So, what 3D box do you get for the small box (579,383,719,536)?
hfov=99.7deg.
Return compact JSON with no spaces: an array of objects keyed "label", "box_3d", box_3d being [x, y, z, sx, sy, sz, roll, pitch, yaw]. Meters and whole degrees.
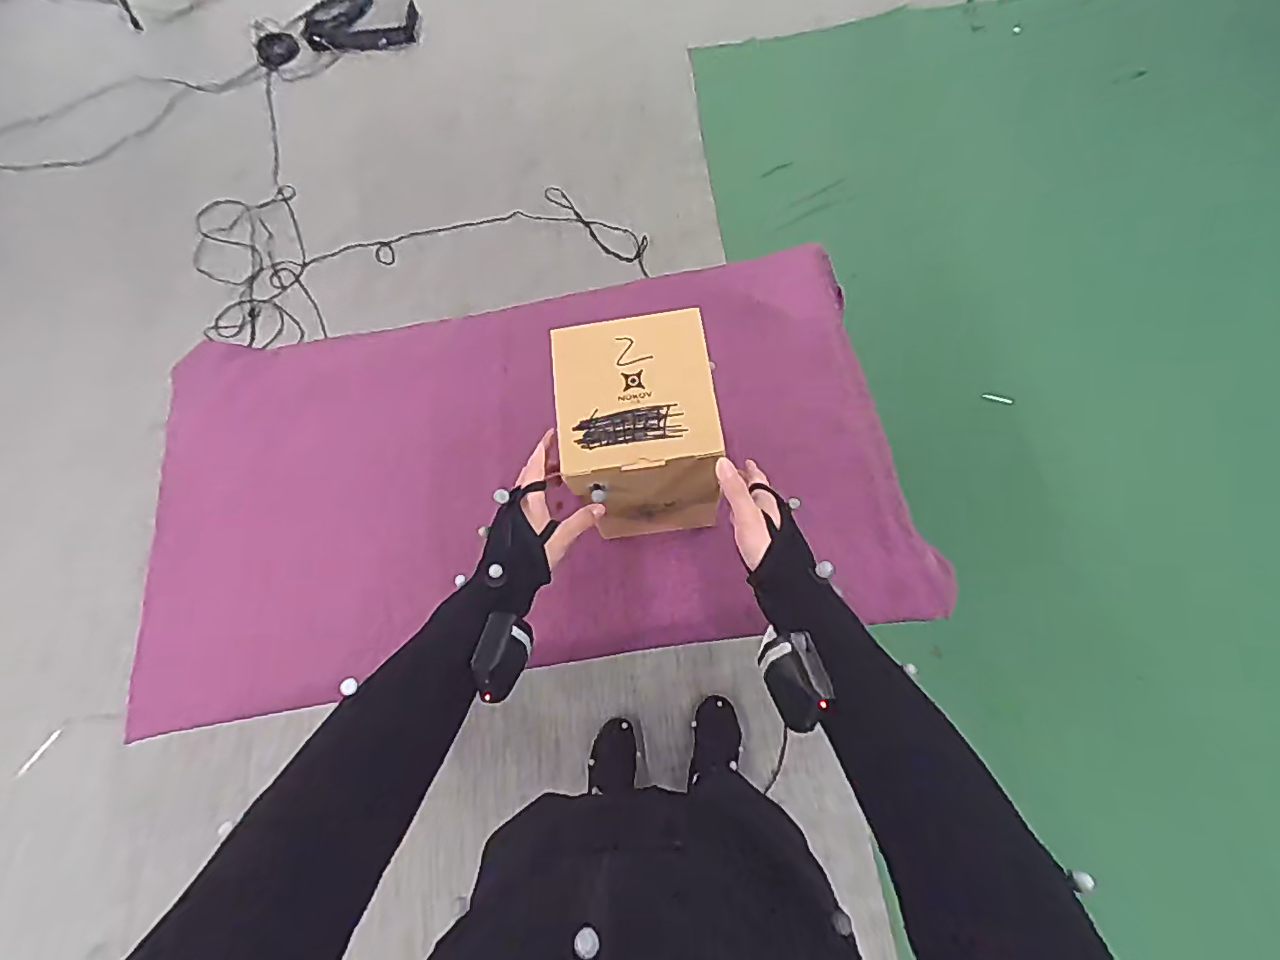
[{"label":"small box","box_3d":[0.015,-0.021,0.793,0.179,0.176,0.168,-7,71,2]}]
